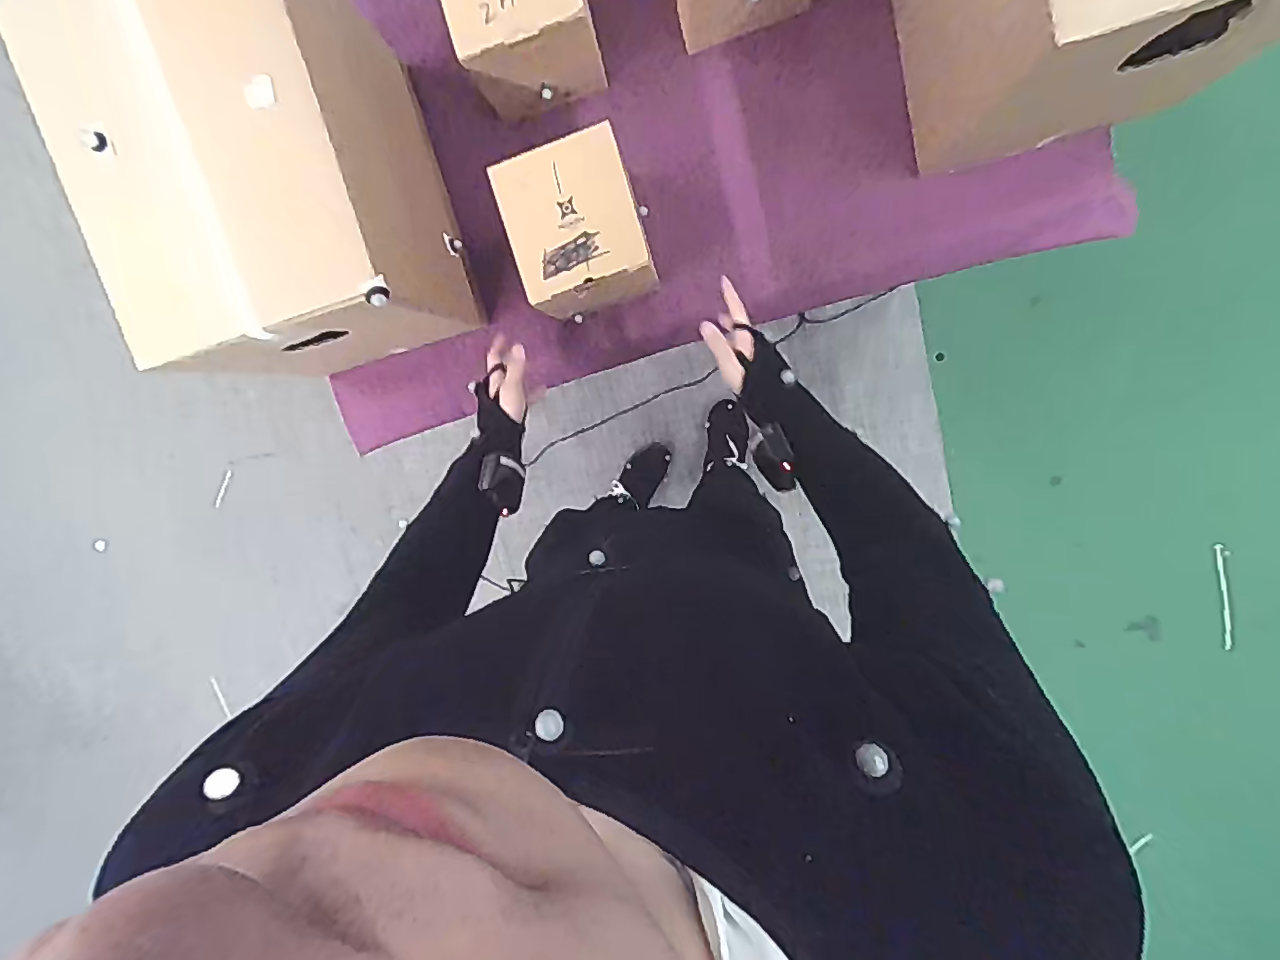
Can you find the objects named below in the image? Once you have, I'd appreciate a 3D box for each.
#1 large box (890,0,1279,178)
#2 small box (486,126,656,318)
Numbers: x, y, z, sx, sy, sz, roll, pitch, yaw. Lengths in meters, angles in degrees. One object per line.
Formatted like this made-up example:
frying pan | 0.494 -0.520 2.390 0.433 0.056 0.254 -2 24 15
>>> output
large box | 0.478 -0.623 0.573 0.320 0.320 0.408 -13 99 9
small box | -0.082 -0.336 0.750 0.168 0.176 0.179 -17 95 8
